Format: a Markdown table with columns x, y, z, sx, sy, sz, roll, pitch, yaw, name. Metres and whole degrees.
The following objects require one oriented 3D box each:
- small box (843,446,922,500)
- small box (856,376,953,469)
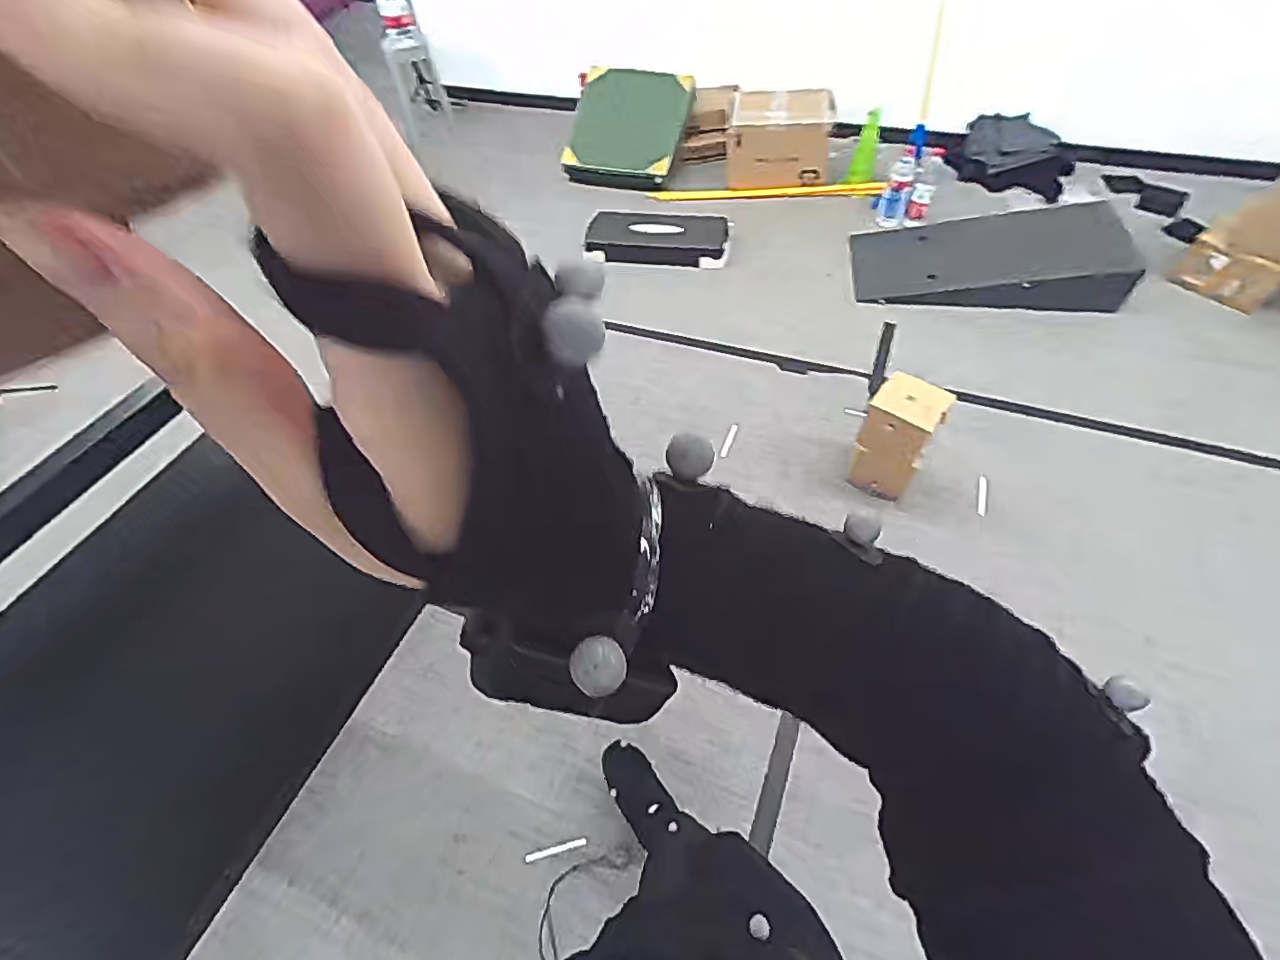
| x | y | z | sx | sy | sz | roll | pitch | yaw | name |
| --- | --- | --- | --- | --- | --- | --- | --- | --- | --- |
| 0.758 | -0.060 | 1.683 | 0.179 | 0.176 | 0.168 | 22 | 59 | 18 | small box |
| 0.748 | -0.160 | 1.550 | 0.179 | 0.176 | 0.168 | 33 | 64 | 25 | small box |
